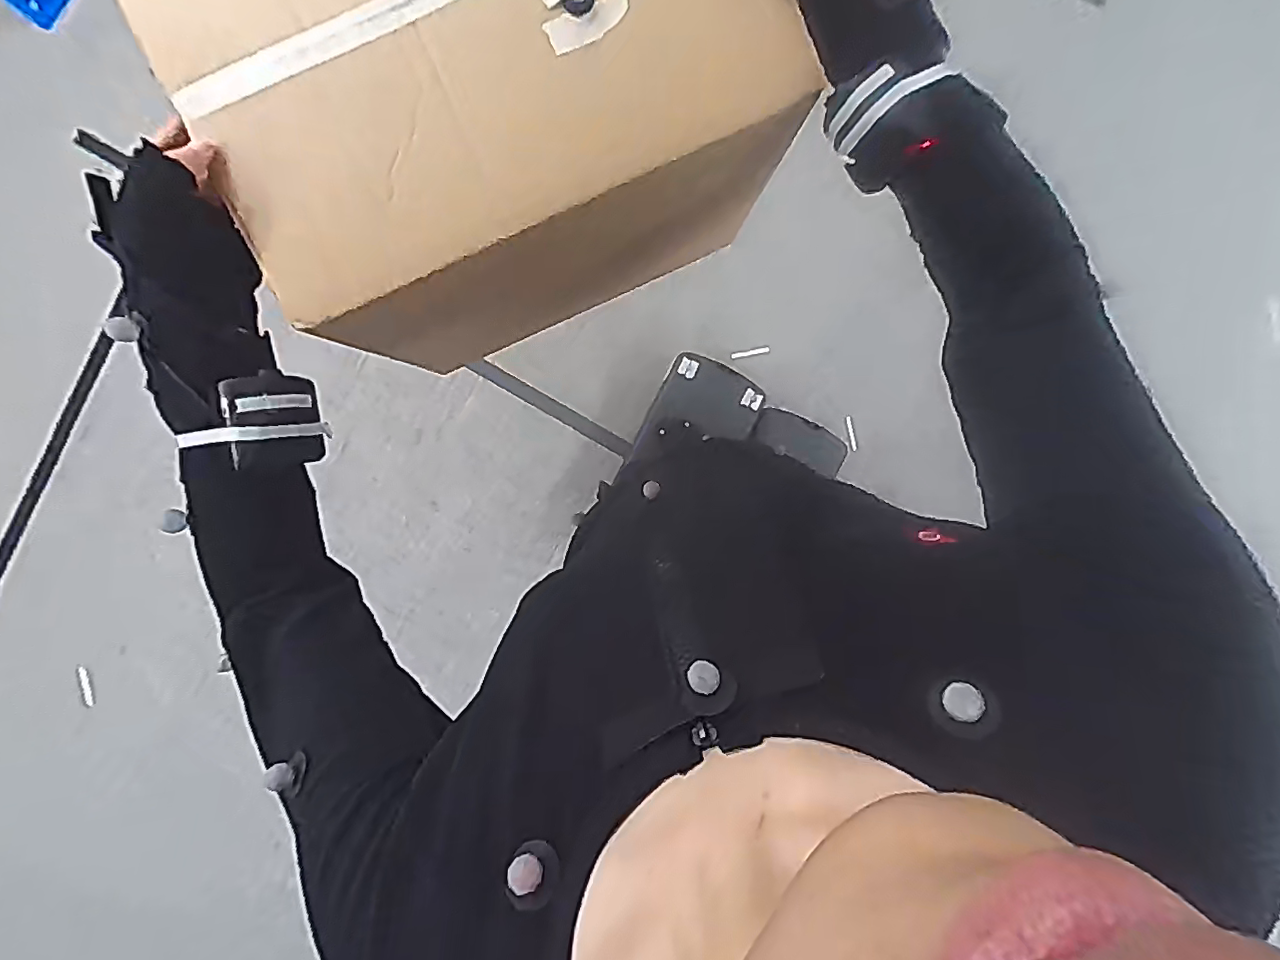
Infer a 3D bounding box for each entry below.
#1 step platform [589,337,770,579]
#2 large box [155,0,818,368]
[{"bbox_3d":[0.110,-0.060,1.578,0.286,0.204,0.684,26,92,0],"label":"step platform"},{"bbox_3d":[-0.120,-0.346,0.518,0.408,0.320,0.320,-25,96,-1],"label":"large box"}]
